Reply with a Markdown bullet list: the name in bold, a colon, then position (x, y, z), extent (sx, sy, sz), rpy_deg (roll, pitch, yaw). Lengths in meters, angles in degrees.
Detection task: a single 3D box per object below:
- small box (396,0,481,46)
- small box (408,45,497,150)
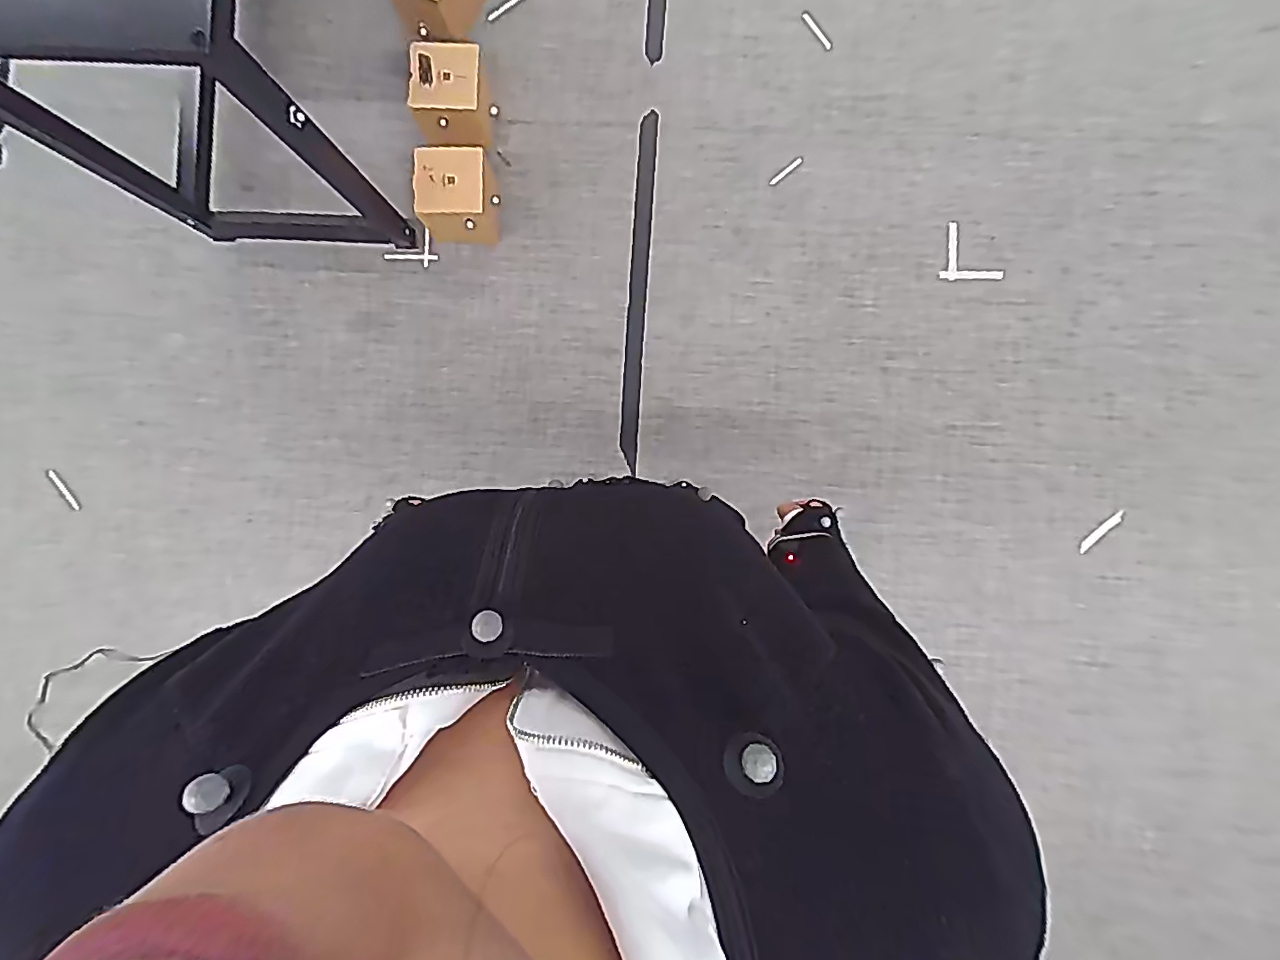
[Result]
- **small box**: position (-0.542, -1.304, 1.436), extent (0.168, 0.176, 0.179), rpy_deg (24, 92, 2)
- **small box**: position (-0.492, -1.007, 1.435), extent (0.179, 0.176, 0.168), rpy_deg (2, 90, 0)
